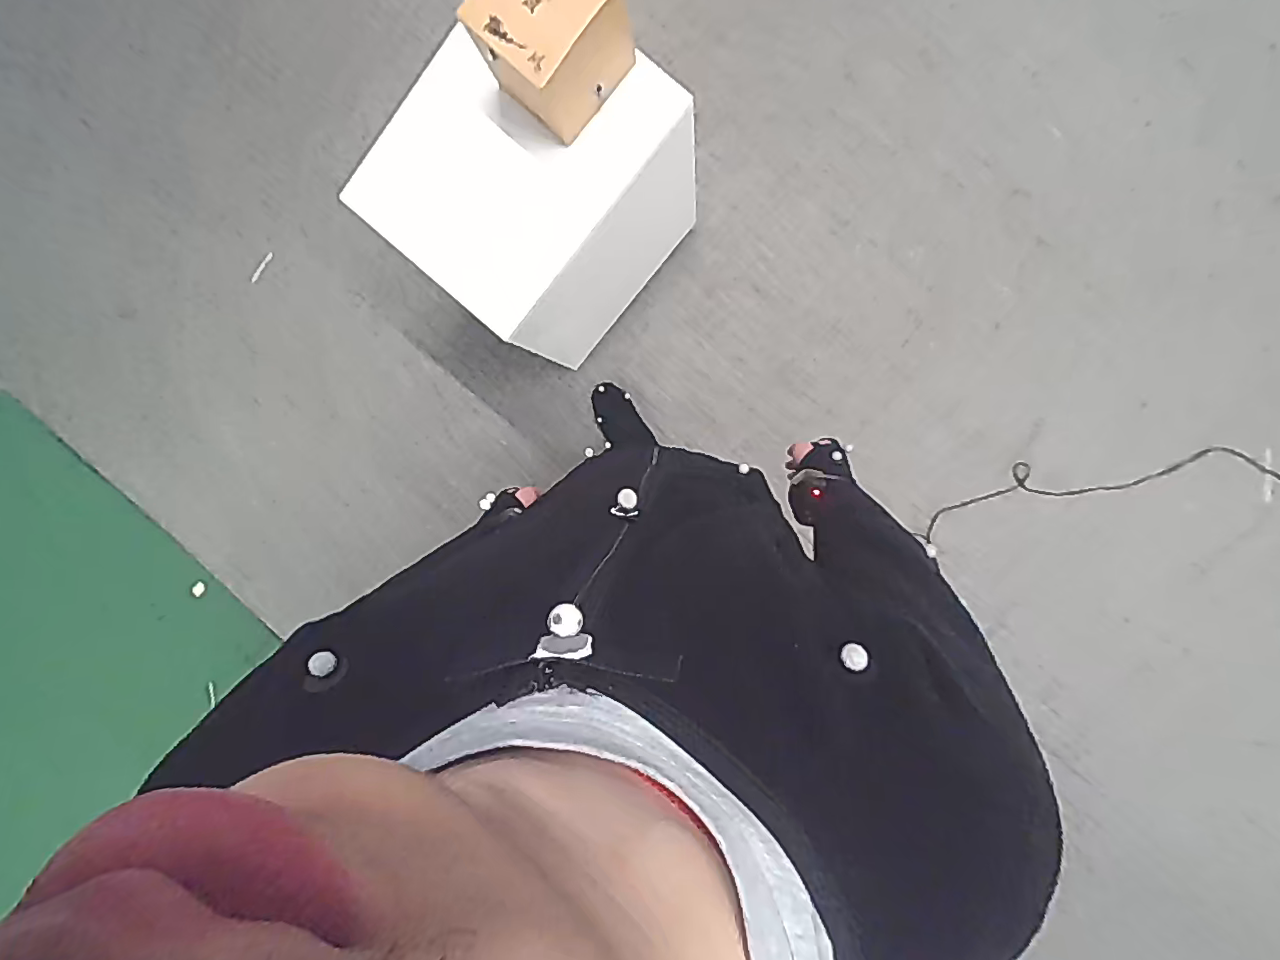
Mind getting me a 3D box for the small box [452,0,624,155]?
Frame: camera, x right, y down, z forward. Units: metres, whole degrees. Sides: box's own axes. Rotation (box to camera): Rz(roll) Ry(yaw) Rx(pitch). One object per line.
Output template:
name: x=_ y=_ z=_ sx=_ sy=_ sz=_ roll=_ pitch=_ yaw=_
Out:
small box: x=-0.137 y=-0.642 z=0.806 sx=0.168 sy=0.176 sz=0.179 roll=41 pitch=96 yaw=0
